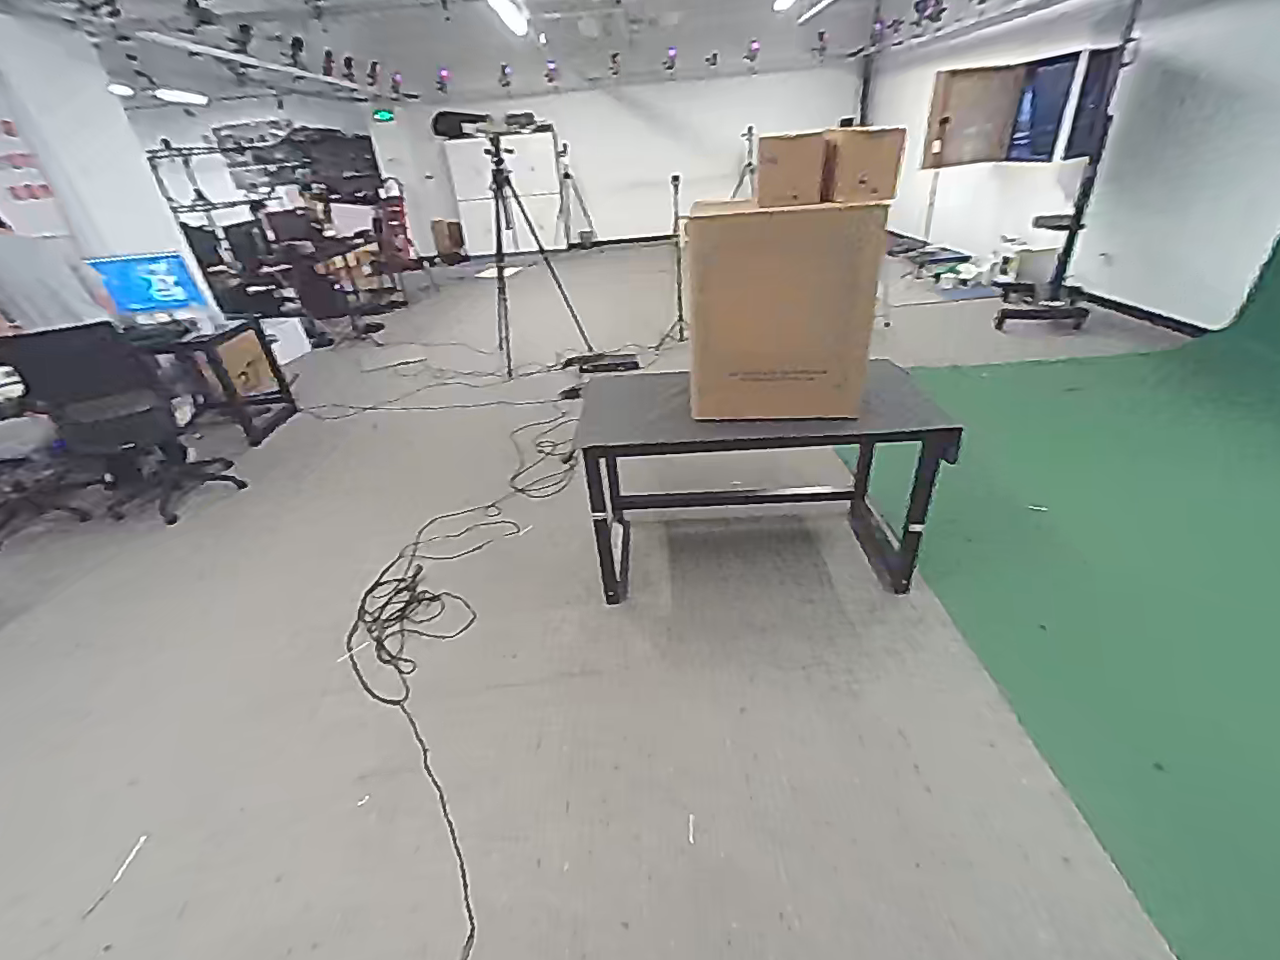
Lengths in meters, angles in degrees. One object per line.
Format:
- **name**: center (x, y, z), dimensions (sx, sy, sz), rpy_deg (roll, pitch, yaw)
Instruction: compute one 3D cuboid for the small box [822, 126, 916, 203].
- **small box**: center (0.608, -0.859, 1.466), dimensions (0.168, 0.176, 0.179), rpy_deg (-2, 35, -2)
